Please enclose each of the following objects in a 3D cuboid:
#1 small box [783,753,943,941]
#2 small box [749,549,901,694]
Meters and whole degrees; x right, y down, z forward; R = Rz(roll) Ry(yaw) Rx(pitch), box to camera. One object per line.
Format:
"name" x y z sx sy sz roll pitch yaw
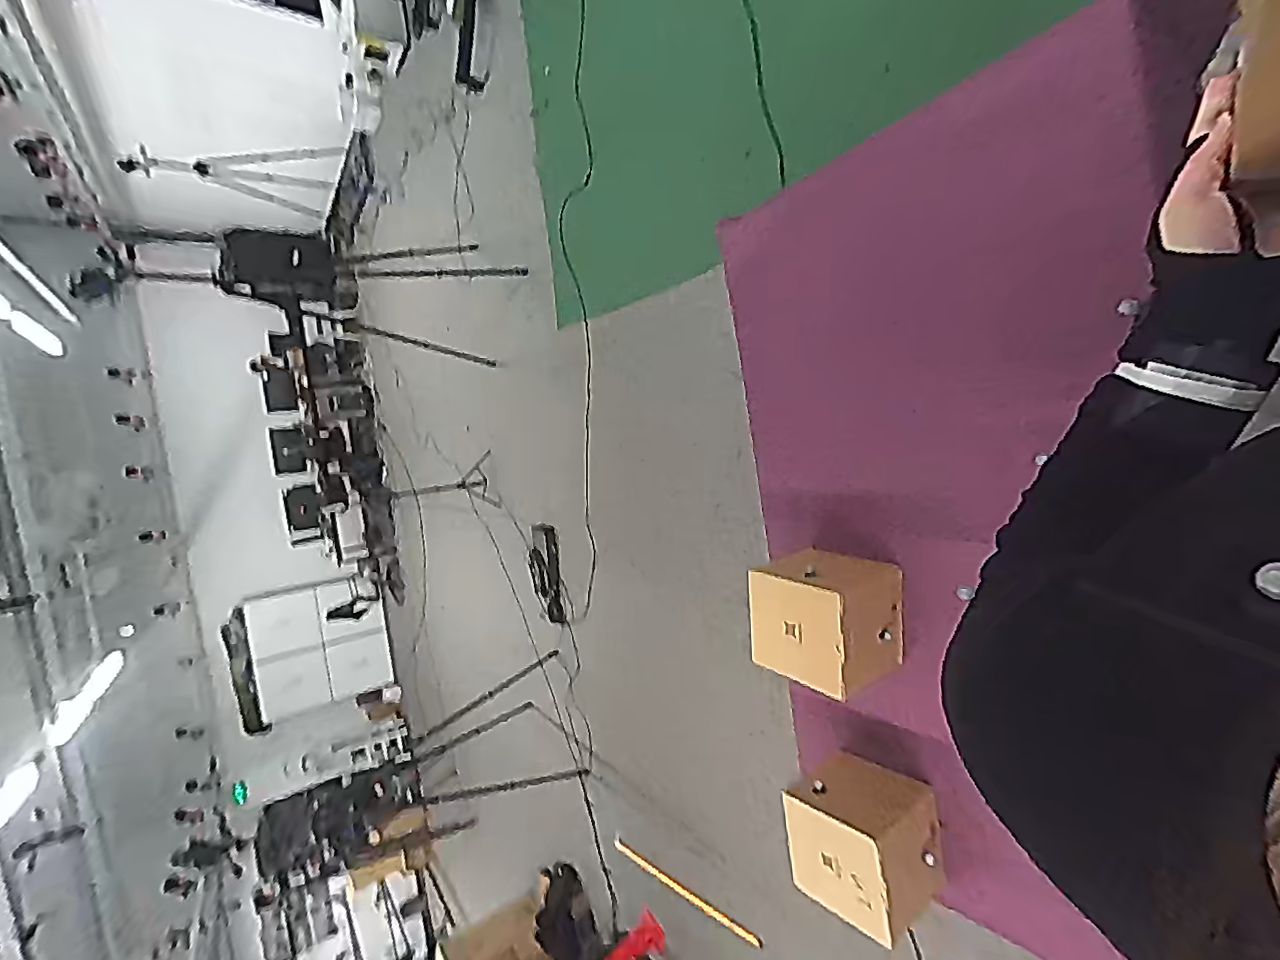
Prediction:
"small box" 0.365 0.582 0.892 0.179 0.176 0.168 -5 94 54
"small box" 0.304 0.219 0.896 0.179 0.176 0.168 6 103 52
